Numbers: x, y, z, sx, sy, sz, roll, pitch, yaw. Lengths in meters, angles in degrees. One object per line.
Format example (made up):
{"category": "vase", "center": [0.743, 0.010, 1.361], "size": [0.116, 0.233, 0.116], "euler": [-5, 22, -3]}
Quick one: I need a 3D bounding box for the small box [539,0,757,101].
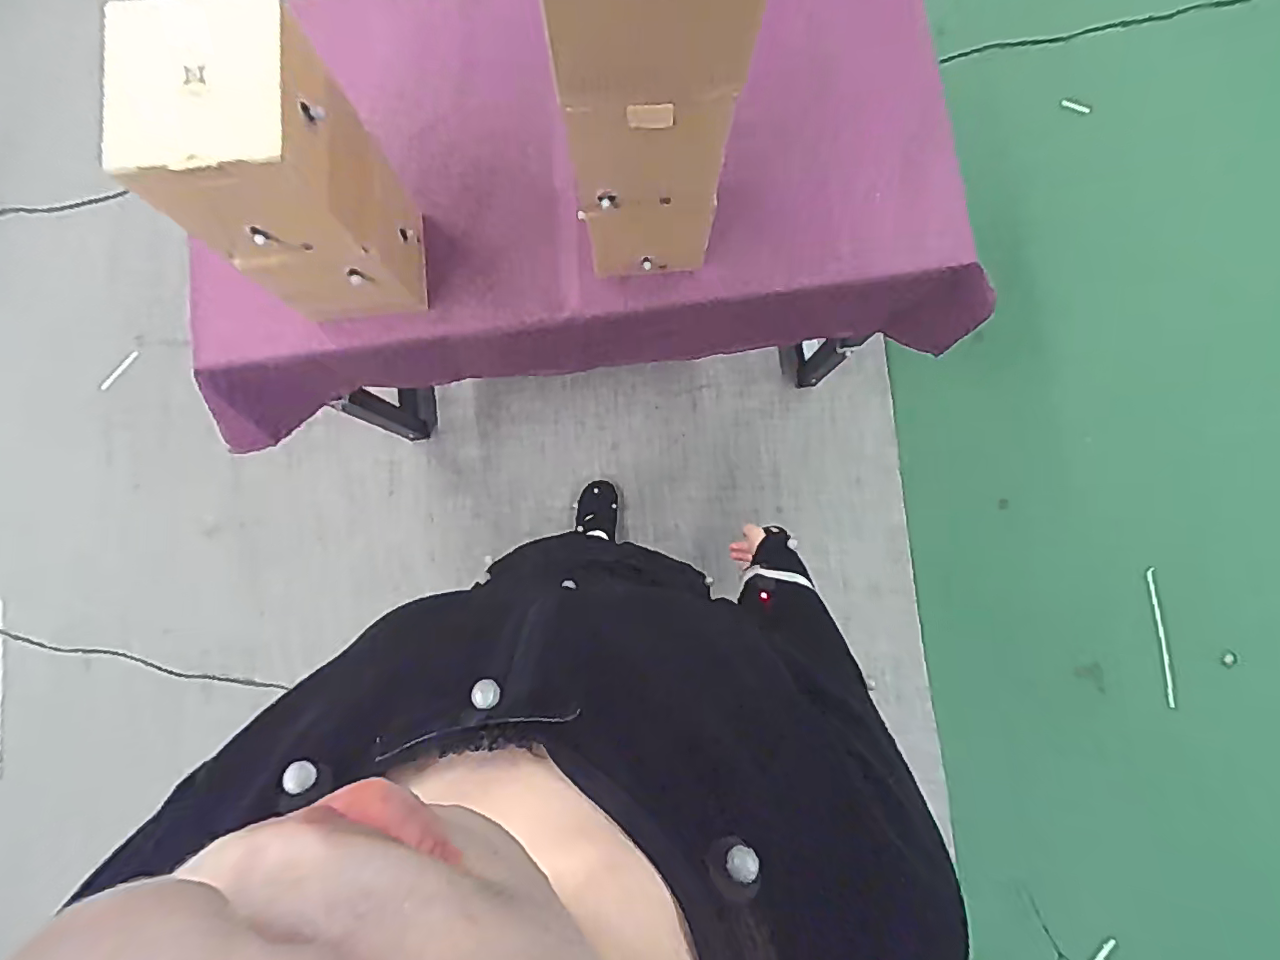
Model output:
{"category": "small box", "center": [0.006, -0.437, 0.429], "size": [0.179, 0.176, 0.168], "euler": [-1, 86, 0]}

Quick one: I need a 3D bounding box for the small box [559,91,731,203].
{"category": "small box", "center": [0.005, -0.427, 0.592], "size": [0.168, 0.176, 0.179], "euler": [-2, 83, 0]}

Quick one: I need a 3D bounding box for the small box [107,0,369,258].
{"category": "small box", "center": [-0.417, -0.370, 0.590], "size": [0.168, 0.176, 0.179], "euler": [-5, 85, 0]}

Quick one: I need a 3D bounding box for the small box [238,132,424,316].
{"category": "small box", "center": [-0.413, -0.343, 0.751], "size": [0.179, 0.176, 0.168], "euler": [-5, 83, 0]}
